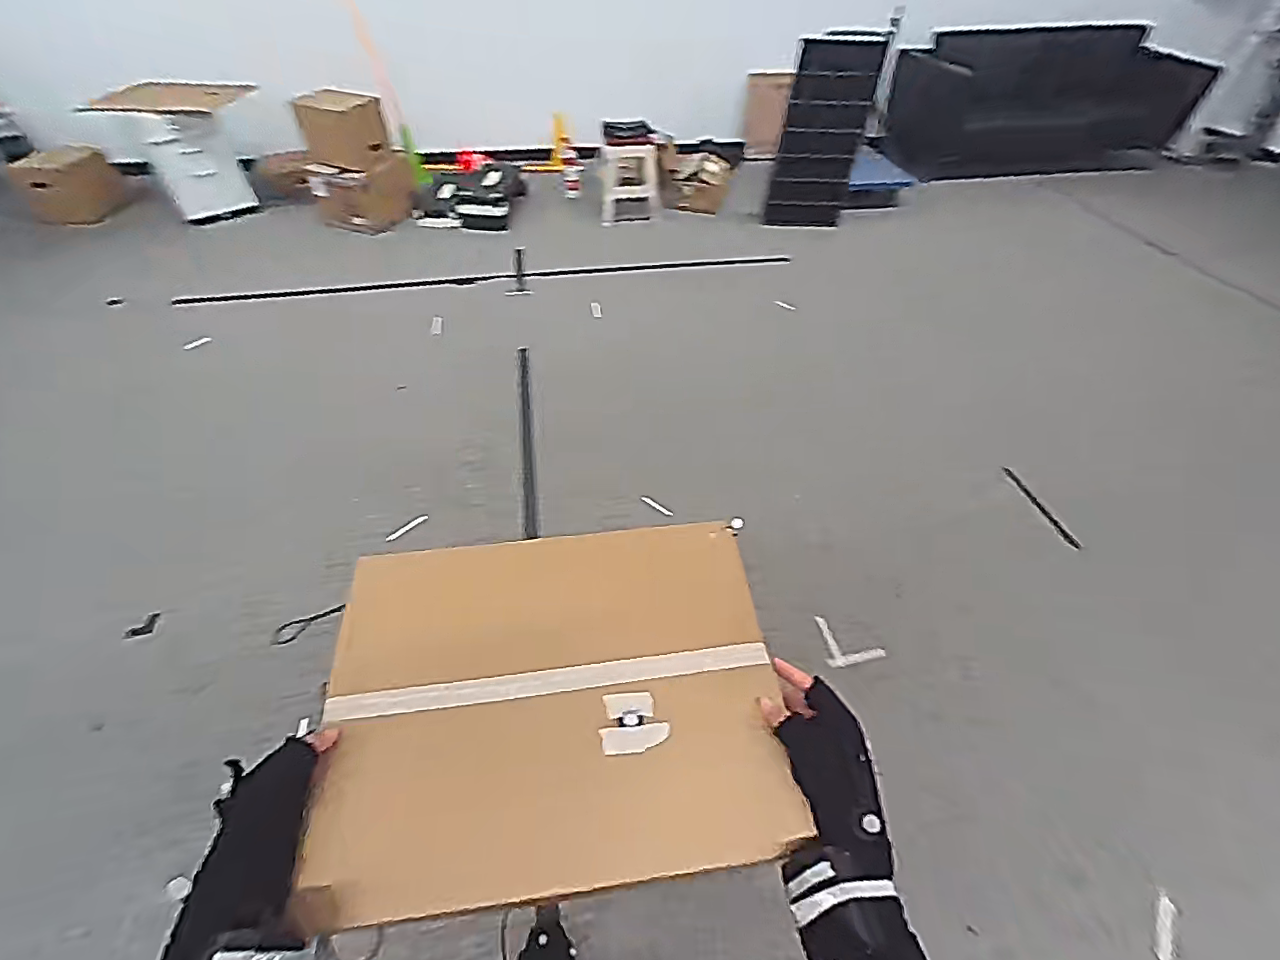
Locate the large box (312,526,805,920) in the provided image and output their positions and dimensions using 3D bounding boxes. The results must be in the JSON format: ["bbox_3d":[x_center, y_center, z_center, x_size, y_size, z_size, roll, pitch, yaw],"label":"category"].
[{"bbox_3d":[-0.081,0.284,0.637,0.408,0.320,0.320,-5,53,-6],"label":"large box"}]
